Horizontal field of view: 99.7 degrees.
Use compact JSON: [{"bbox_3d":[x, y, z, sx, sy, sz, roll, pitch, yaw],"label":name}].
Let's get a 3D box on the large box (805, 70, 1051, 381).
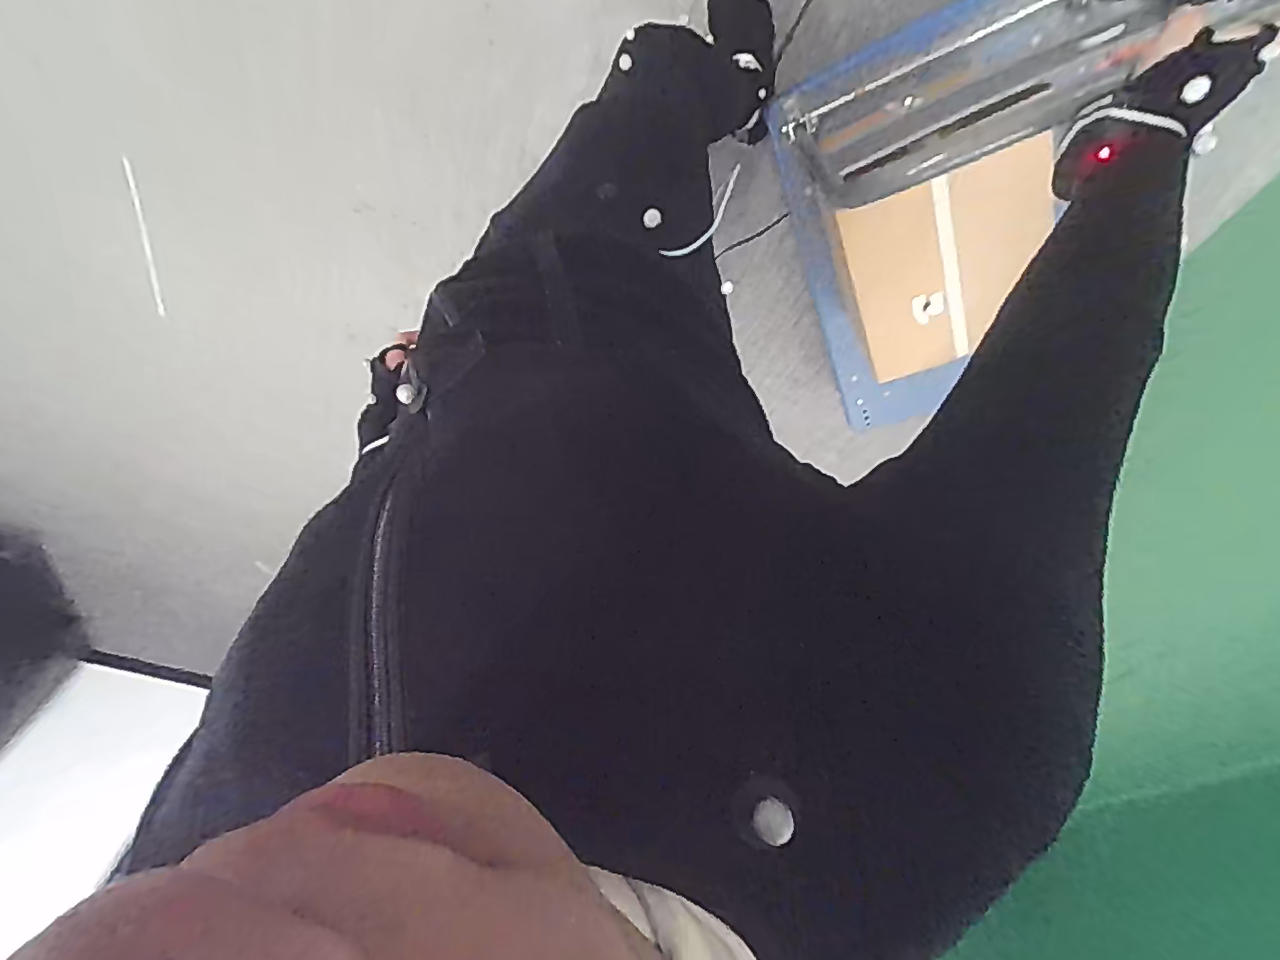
[{"bbox_3d":[0.545,-0.478,1.048,0.320,0.320,0.408,-17,129,21],"label":"large box"}]
